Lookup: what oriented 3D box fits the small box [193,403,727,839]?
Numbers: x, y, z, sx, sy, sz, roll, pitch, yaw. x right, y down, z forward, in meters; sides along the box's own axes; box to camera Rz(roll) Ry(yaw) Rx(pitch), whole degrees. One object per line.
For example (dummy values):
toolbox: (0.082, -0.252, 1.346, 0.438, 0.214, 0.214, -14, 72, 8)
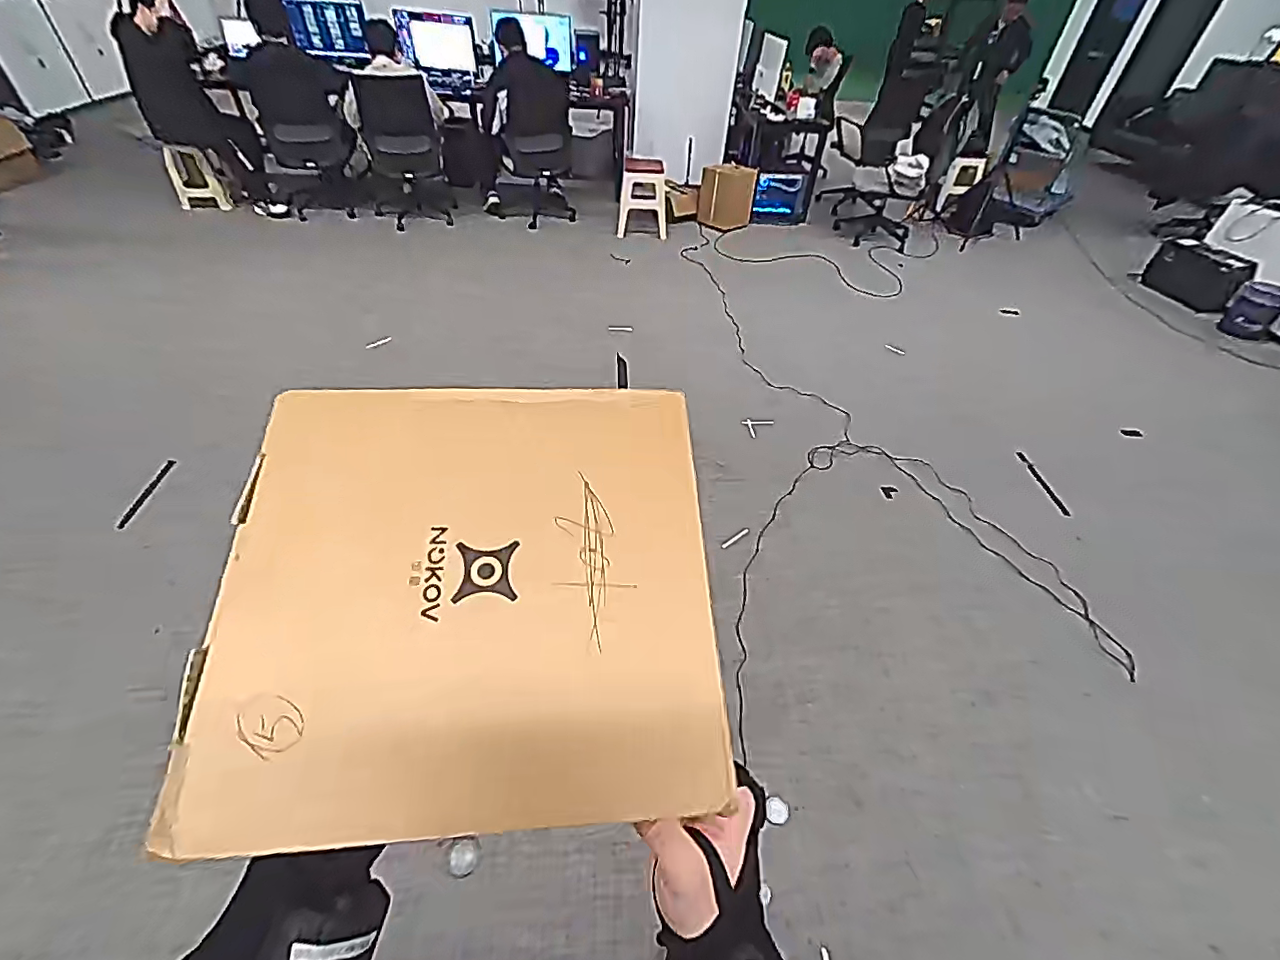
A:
small box: (-0.068, 0.076, 0.284, 0.179, 0.176, 0.168, -2, 63, -7)
